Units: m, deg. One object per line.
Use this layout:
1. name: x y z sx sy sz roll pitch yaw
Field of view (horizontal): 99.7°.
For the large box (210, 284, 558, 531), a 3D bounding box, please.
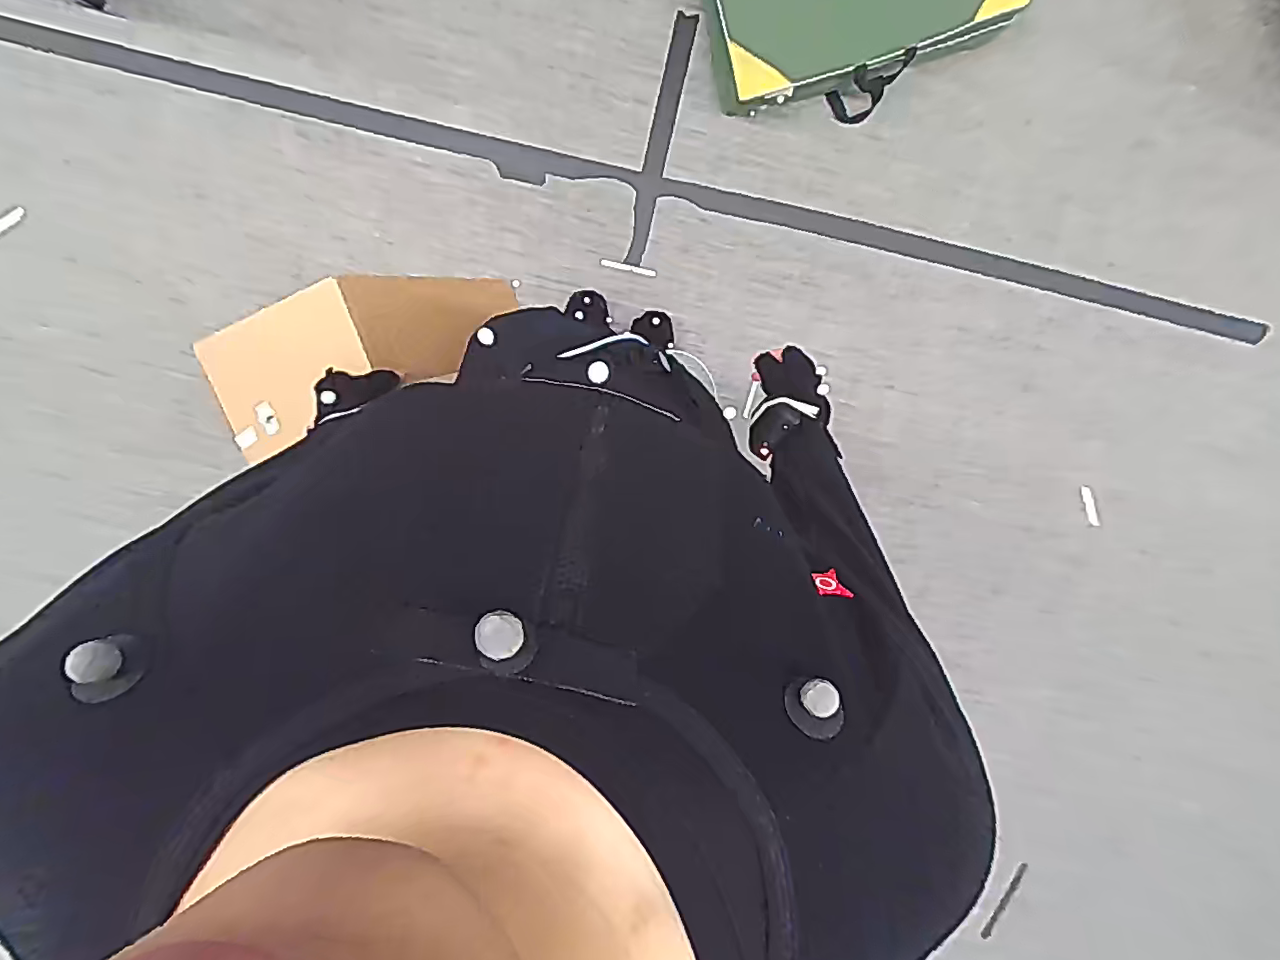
1. large box: -0.406 -0.143 0.954 0.320 0.408 0.320 -9 105 21
